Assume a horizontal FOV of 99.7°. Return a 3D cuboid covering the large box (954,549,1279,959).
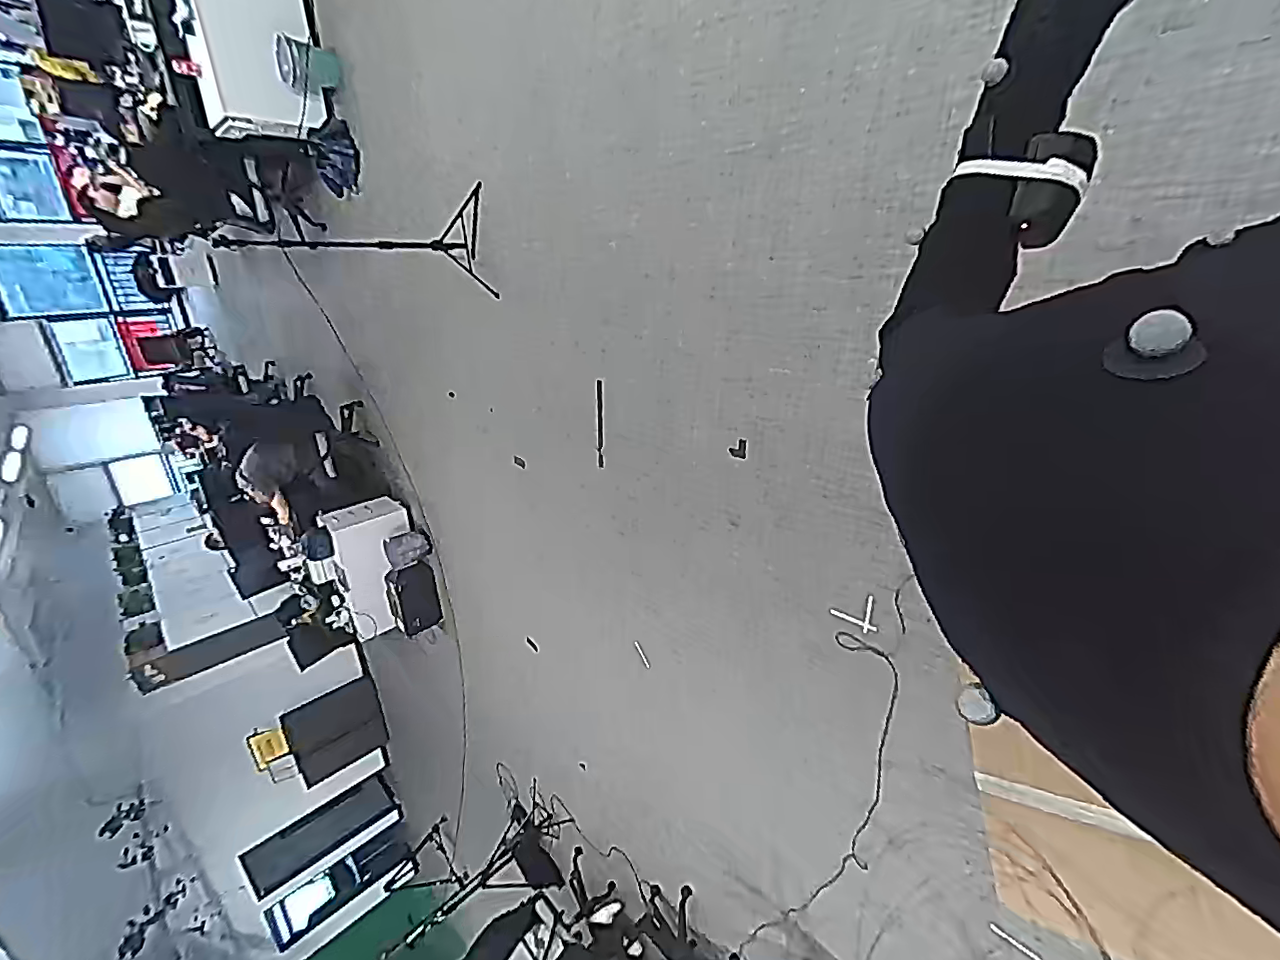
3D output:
[{"bbox_3d":[0.609,0.259,0.556,0.408,0.320,0.320,-6,98,47],"label":"large box"}]
